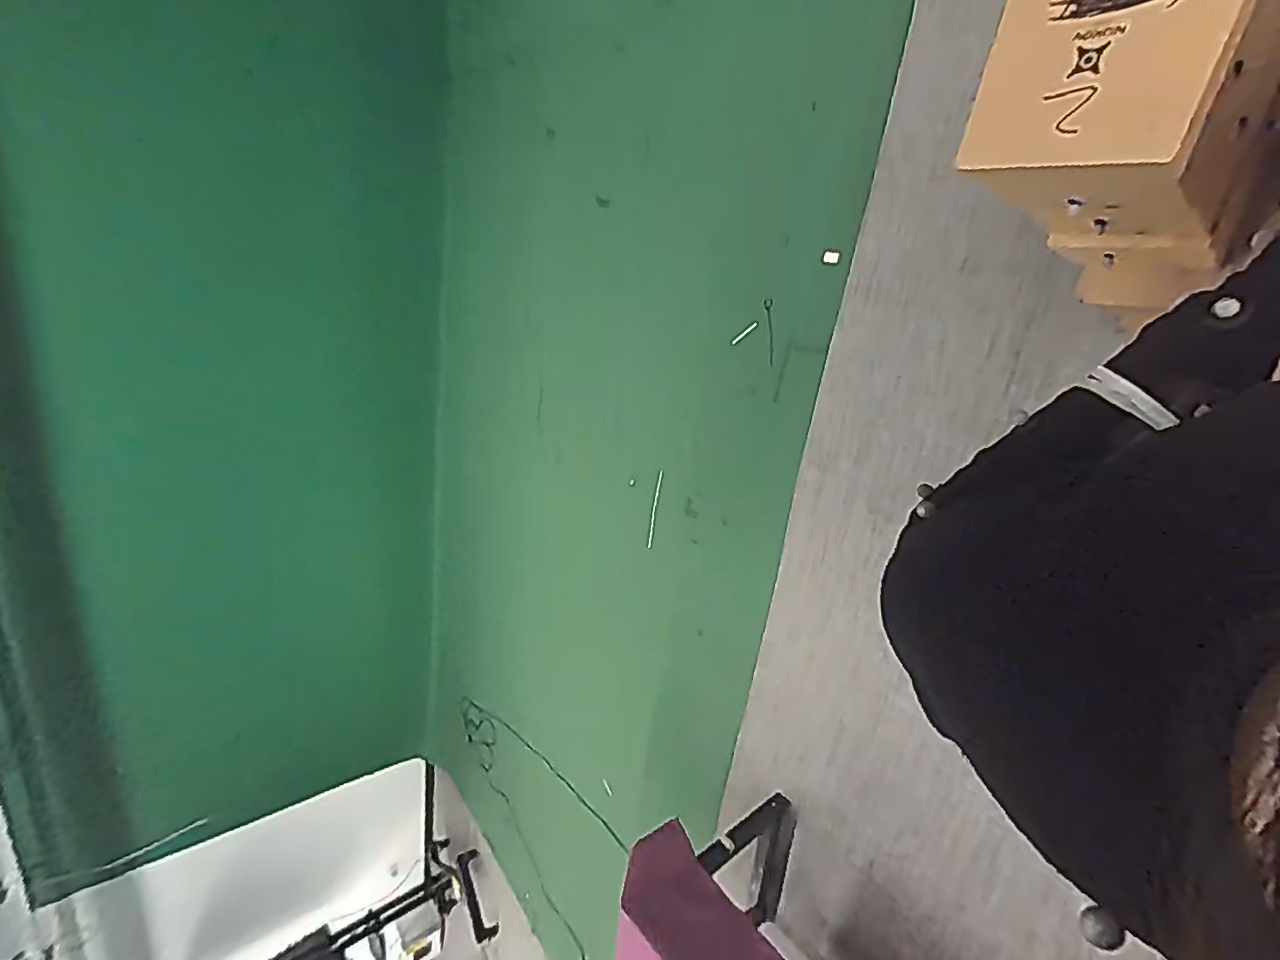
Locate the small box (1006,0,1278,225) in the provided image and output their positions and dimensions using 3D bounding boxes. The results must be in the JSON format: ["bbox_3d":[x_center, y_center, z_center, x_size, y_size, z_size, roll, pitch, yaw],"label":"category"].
[{"bbox_3d":[0.555,-0.394,0.605,0.168,0.176,0.179,29,117,42],"label":"small box"}]

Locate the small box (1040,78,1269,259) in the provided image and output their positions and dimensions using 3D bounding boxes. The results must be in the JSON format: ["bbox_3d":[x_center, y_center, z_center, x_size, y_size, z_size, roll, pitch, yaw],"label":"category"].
[{"bbox_3d":[0.677,-0.398,0.716,0.168,0.176,0.179,27,115,43],"label":"small box"}]
